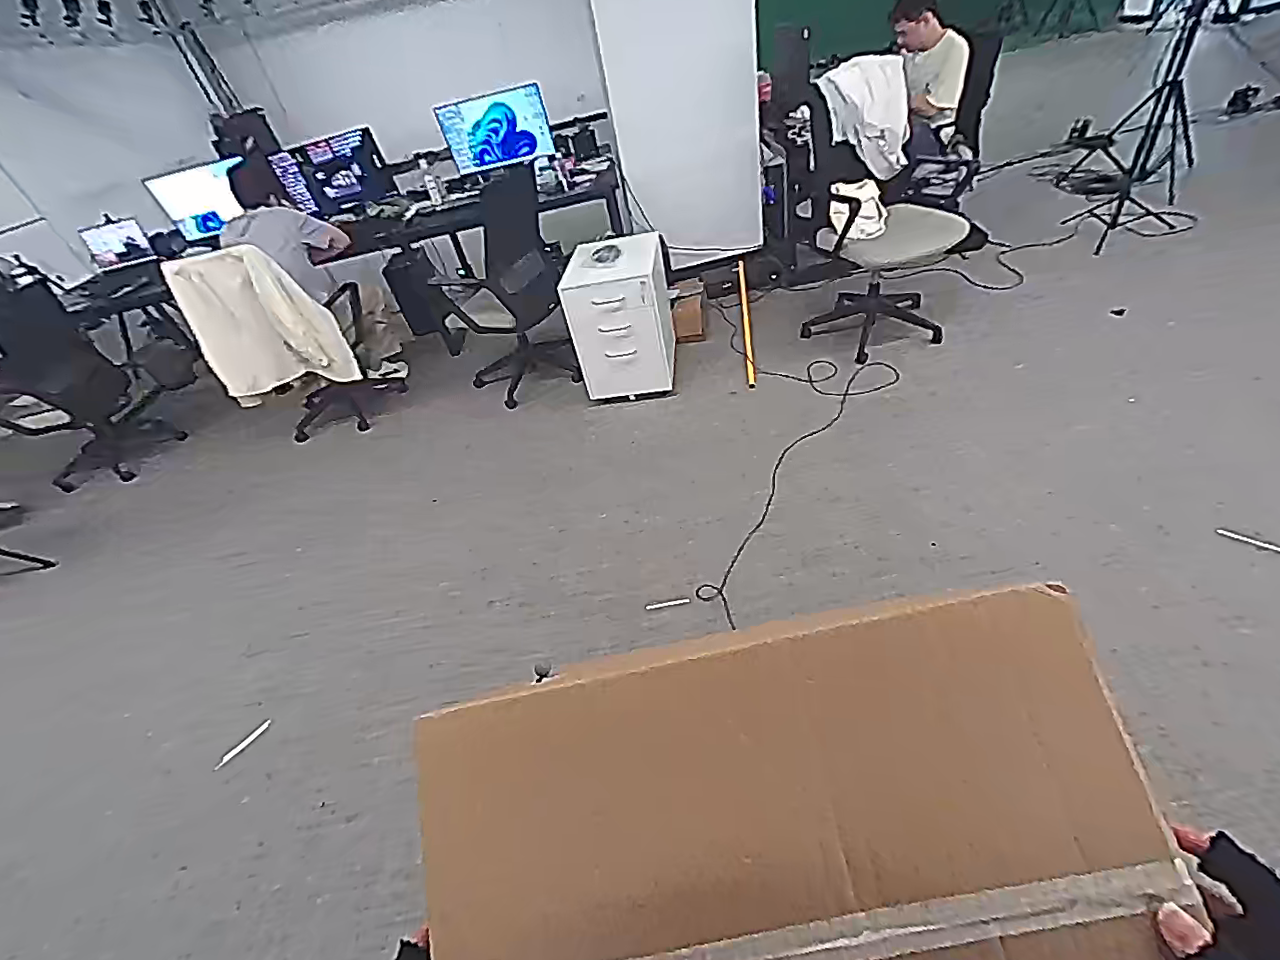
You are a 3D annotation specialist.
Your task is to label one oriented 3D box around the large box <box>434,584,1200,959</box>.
[{"bbox_3d":[0.104,0.292,0.445,0.408,0.320,0.320,-14,75,4],"label":"large box"}]
